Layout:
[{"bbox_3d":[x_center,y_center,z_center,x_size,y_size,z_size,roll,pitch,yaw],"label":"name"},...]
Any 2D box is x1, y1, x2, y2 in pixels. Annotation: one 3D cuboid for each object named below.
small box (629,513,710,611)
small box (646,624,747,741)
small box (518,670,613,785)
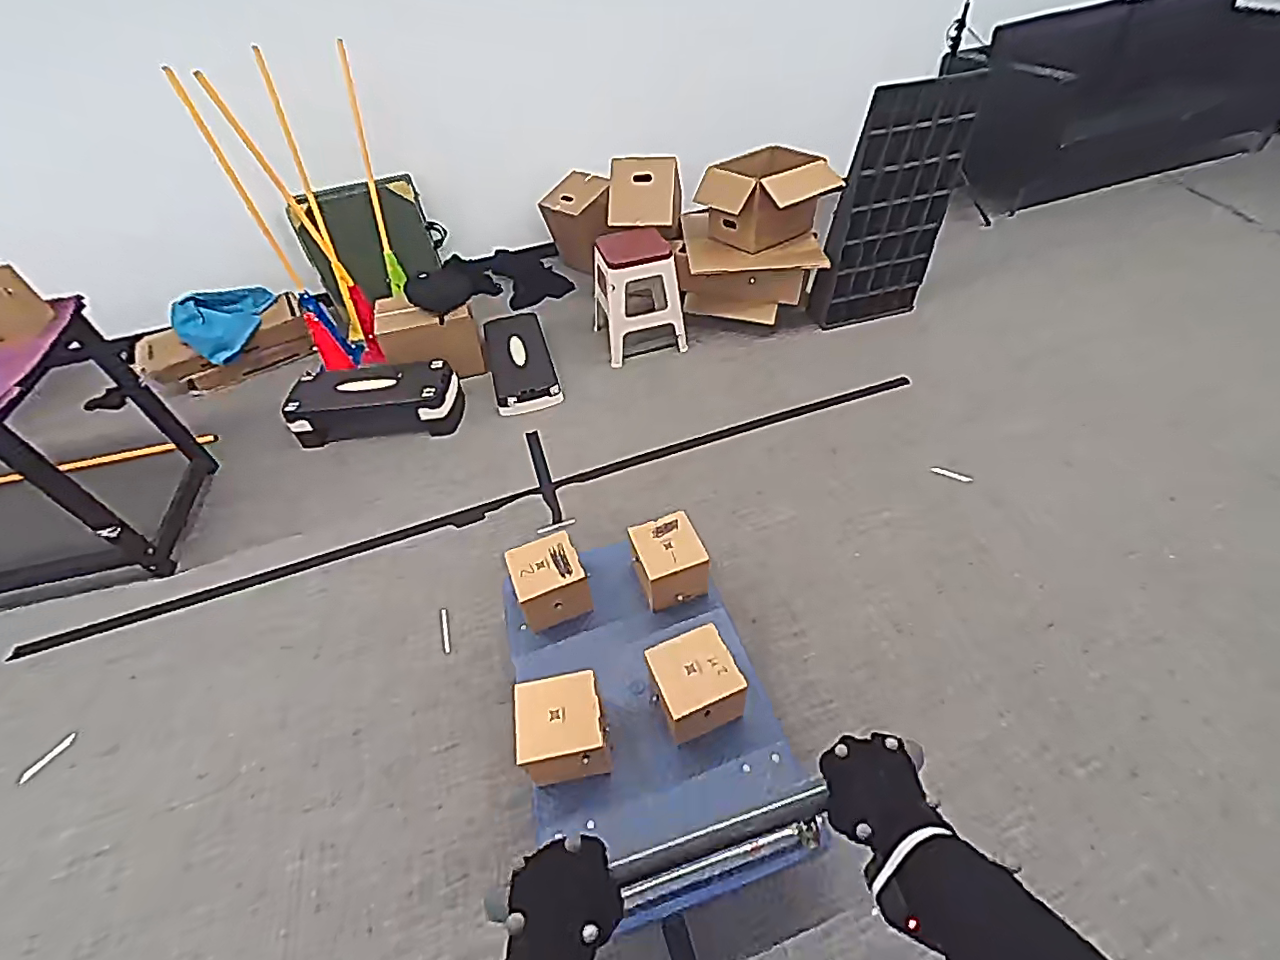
[{"bbox_3d":[0.077,0.225,1.472,0.168,0.176,0.179,-18,49,-11],"label":"small box"},{"bbox_3d":[0.128,0.468,1.242,0.179,0.176,0.168,-20,49,-12],"label":"small box"},{"bbox_3d":[-0.163,0.550,1.194,0.179,0.176,0.168,-10,47,-6],"label":"small box"}]
